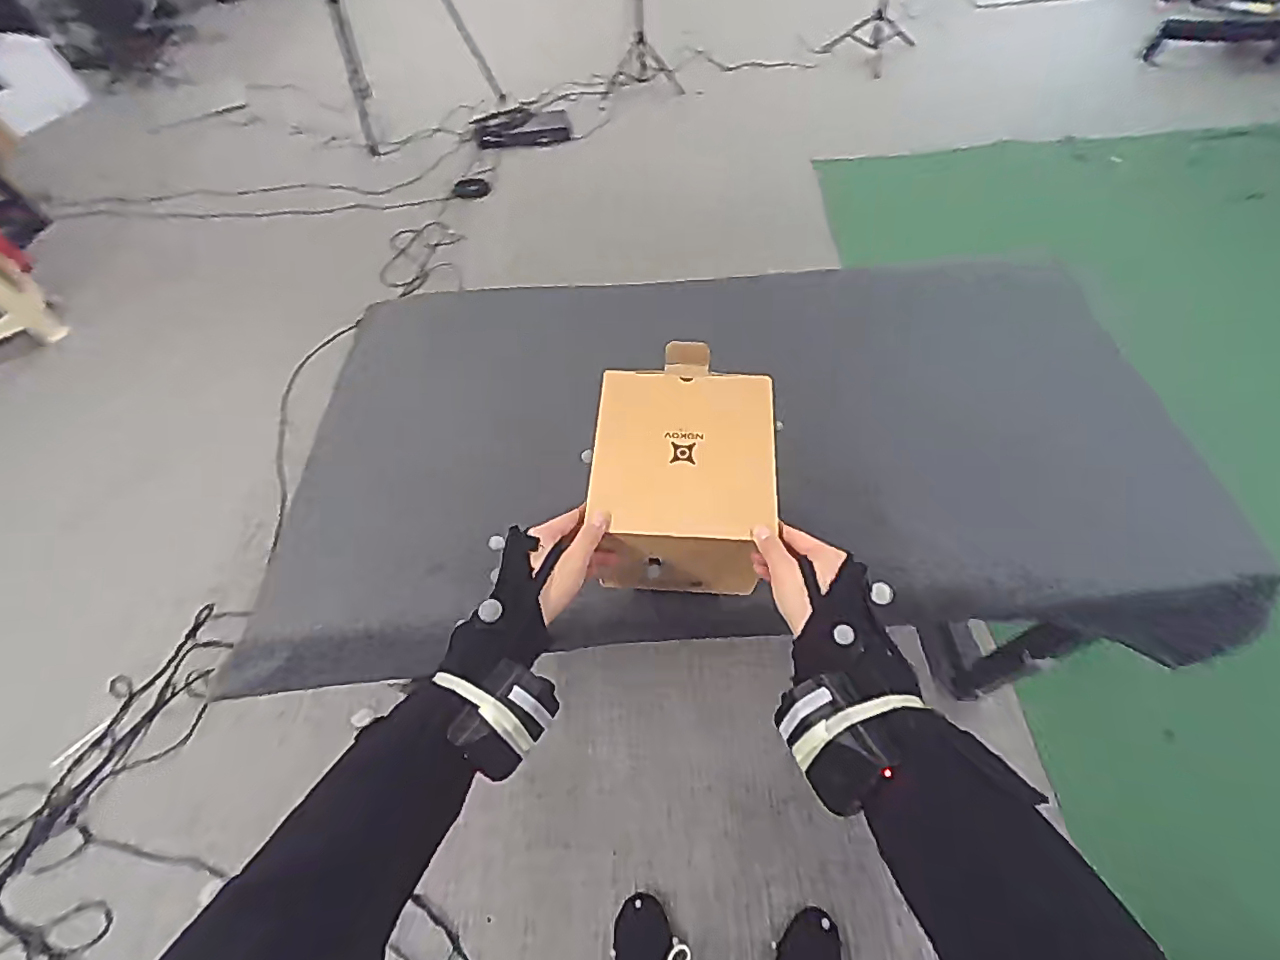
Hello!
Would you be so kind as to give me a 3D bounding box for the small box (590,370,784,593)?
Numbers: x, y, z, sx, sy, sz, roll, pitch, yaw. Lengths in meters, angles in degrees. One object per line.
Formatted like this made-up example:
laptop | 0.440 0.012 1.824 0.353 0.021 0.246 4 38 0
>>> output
small box | 0.050 0.010 0.558 0.168 0.176 0.179 3 62 4
